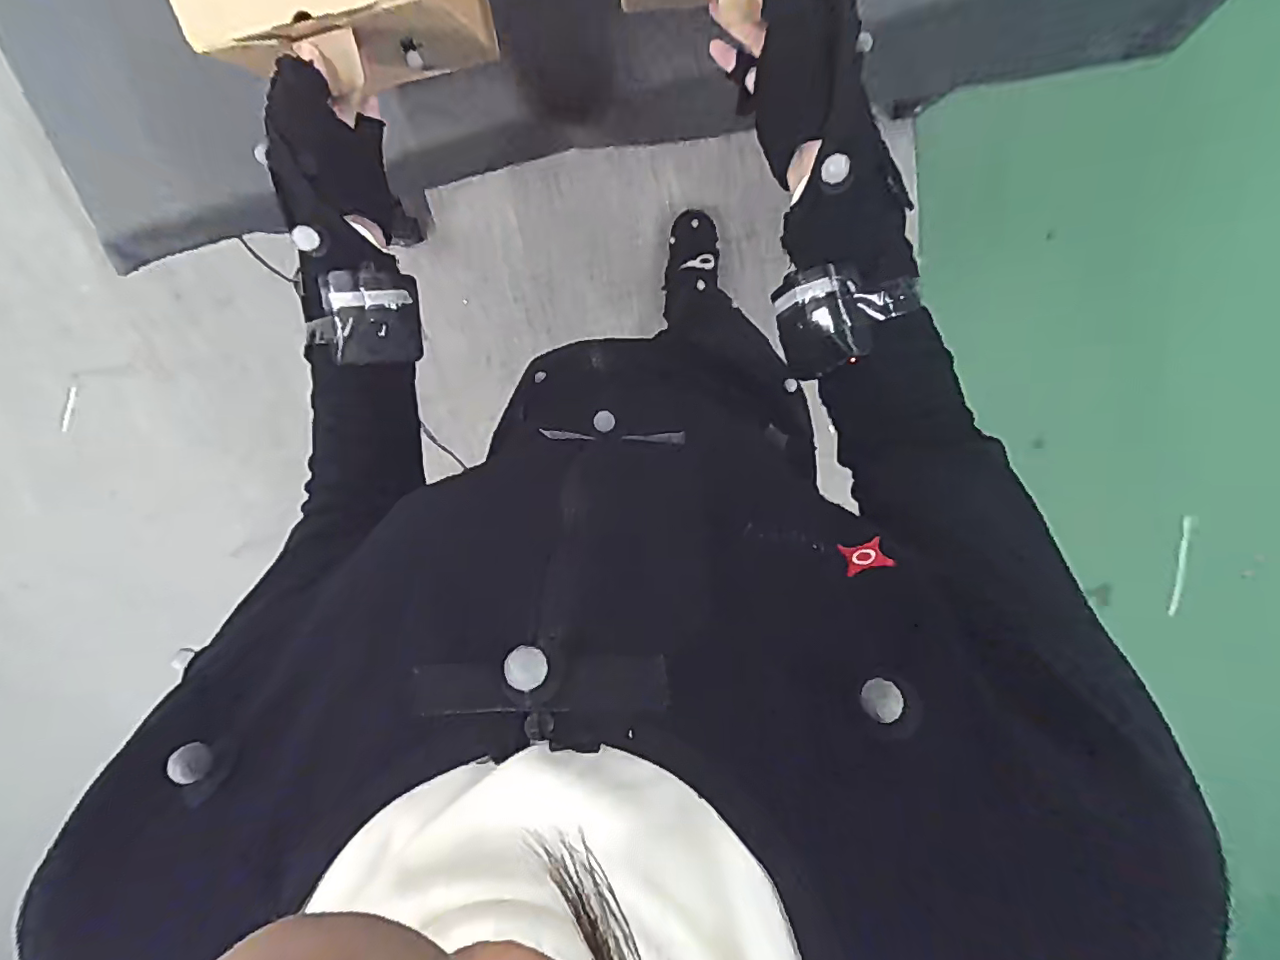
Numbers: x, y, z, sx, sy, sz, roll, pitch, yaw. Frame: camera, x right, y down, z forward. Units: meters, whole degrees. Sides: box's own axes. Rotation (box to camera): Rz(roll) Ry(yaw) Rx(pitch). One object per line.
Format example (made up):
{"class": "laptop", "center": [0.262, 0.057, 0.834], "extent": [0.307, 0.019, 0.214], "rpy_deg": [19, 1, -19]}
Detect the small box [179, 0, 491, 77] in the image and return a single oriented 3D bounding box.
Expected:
{"class": "small box", "center": [-0.224, -0.414, 0.382], "extent": [0.168, 0.176, 0.179], "rpy_deg": [-8, 115, 7]}
